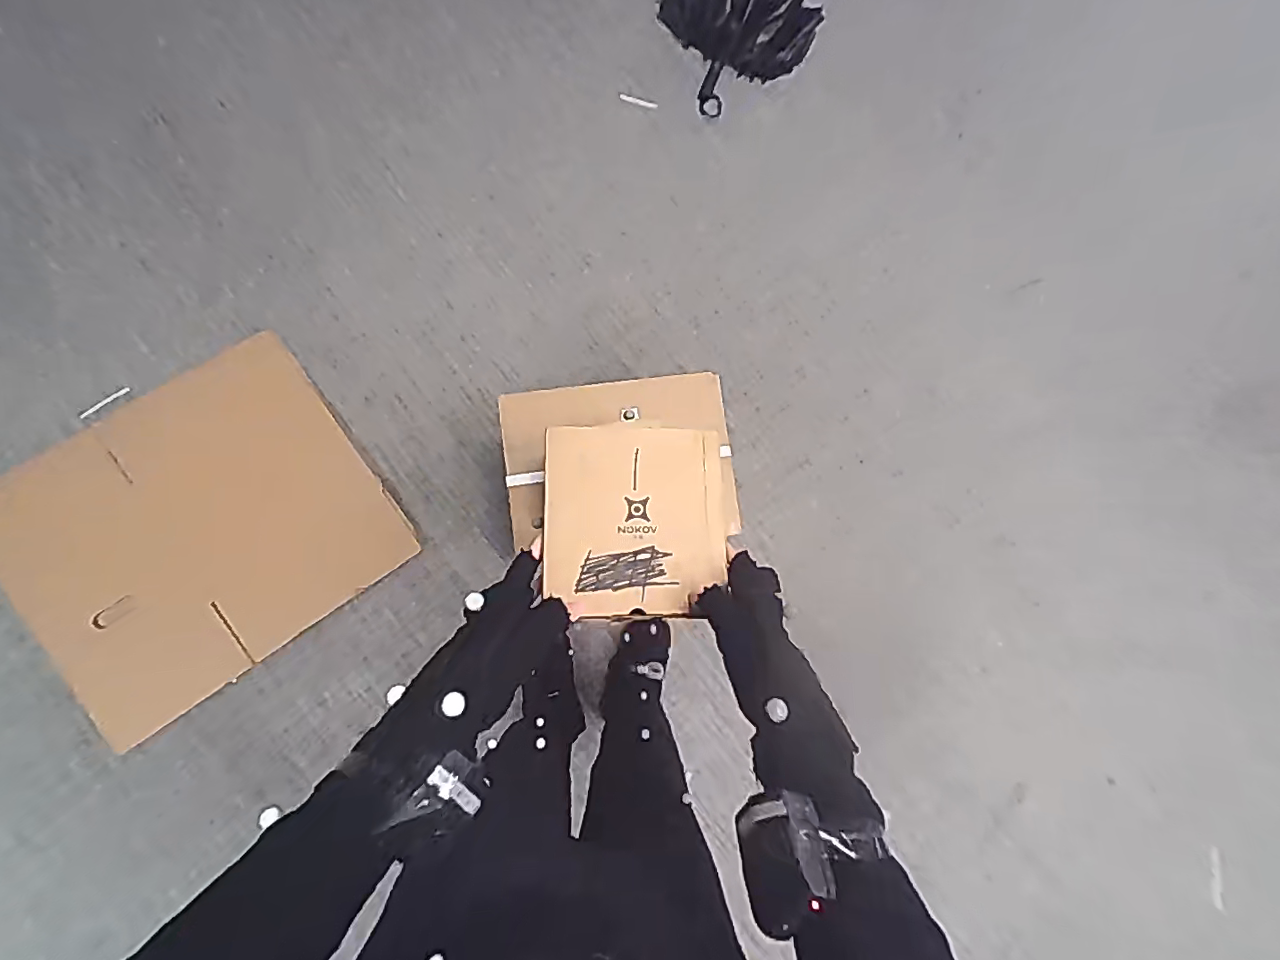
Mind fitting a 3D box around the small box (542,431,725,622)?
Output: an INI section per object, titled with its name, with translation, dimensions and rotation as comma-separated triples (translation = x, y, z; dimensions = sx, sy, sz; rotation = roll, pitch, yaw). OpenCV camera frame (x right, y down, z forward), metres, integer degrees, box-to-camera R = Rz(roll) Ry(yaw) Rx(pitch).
[small box]
translation = -0.014, 0.057, 0.573
dimensions = 0.168, 0.176, 0.179
rotation = 0, 75, -7
